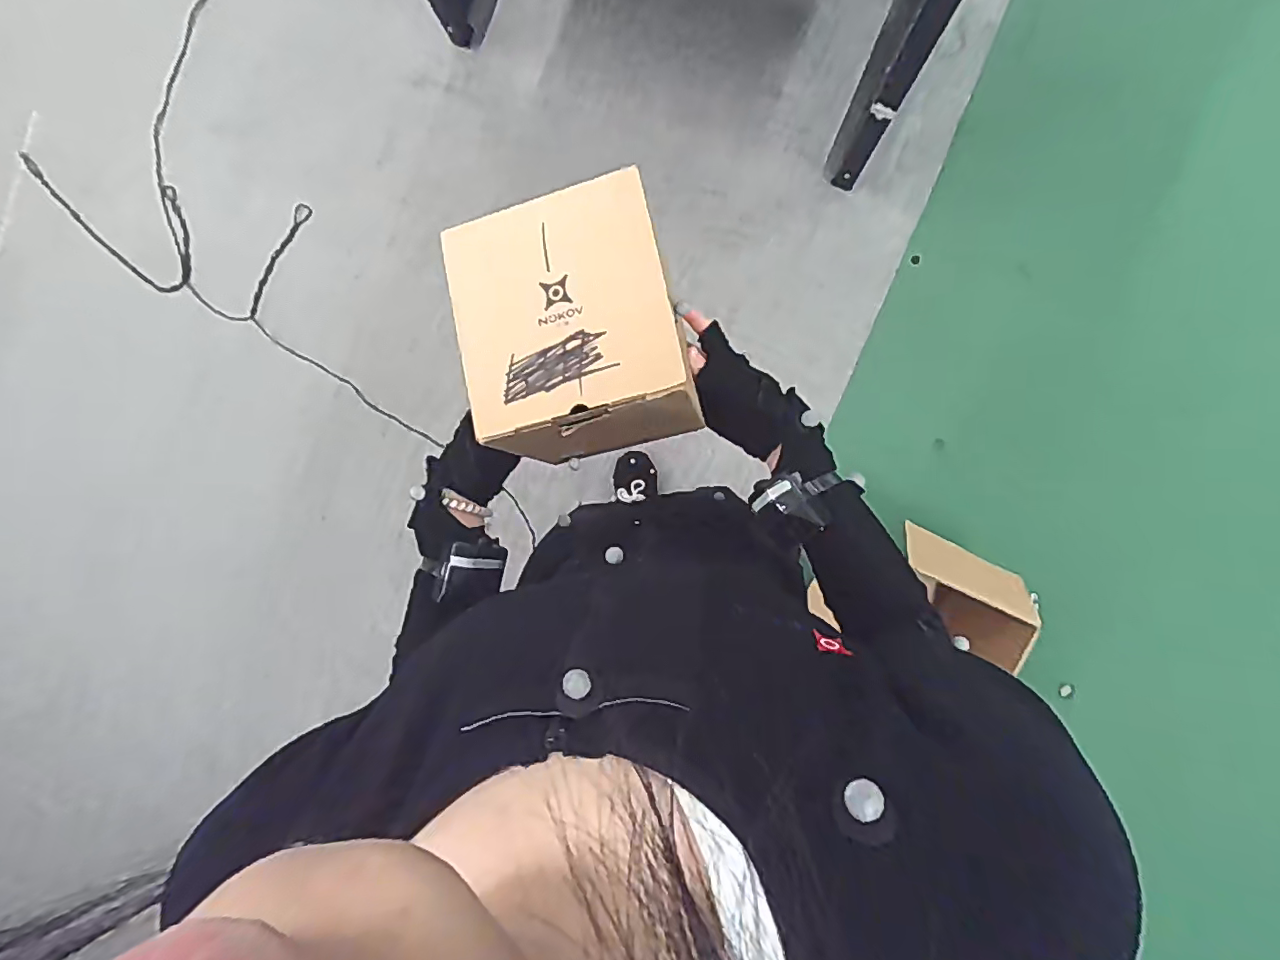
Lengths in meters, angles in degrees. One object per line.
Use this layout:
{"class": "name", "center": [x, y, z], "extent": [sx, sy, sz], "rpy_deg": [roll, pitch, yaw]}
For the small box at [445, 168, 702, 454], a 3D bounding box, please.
{"class": "small box", "center": [-0.044, -0.125, 0.482], "extent": [0.168, 0.176, 0.179], "rpy_deg": [-13, 83, 9]}
